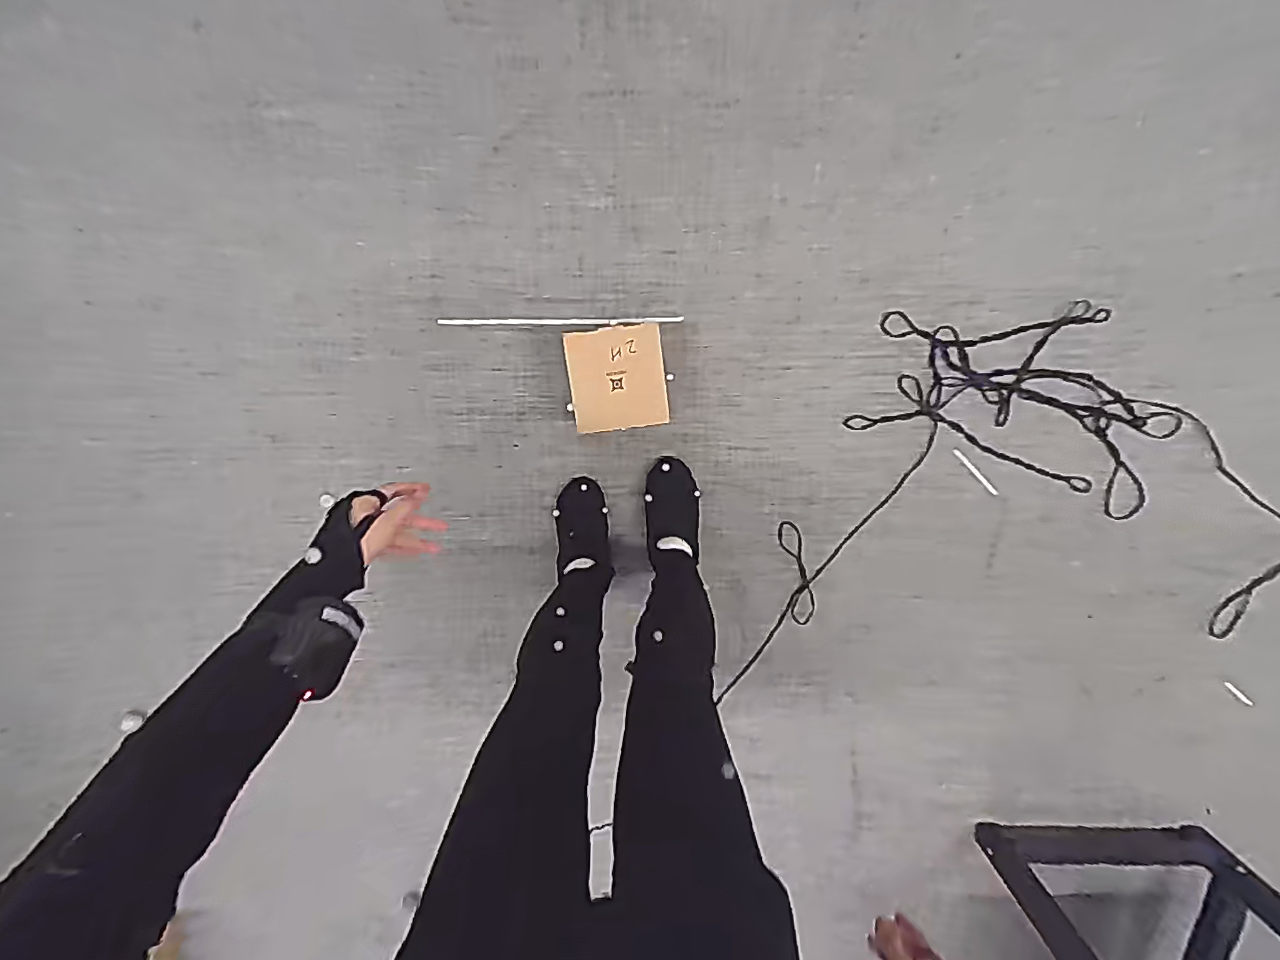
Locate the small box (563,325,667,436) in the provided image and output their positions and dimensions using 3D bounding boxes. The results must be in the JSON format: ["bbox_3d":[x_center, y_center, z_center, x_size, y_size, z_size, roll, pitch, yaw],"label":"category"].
[{"bbox_3d":[-0.039,-0.188,1.002,0.168,0.176,0.179,-7,103,2],"label":"small box"}]
